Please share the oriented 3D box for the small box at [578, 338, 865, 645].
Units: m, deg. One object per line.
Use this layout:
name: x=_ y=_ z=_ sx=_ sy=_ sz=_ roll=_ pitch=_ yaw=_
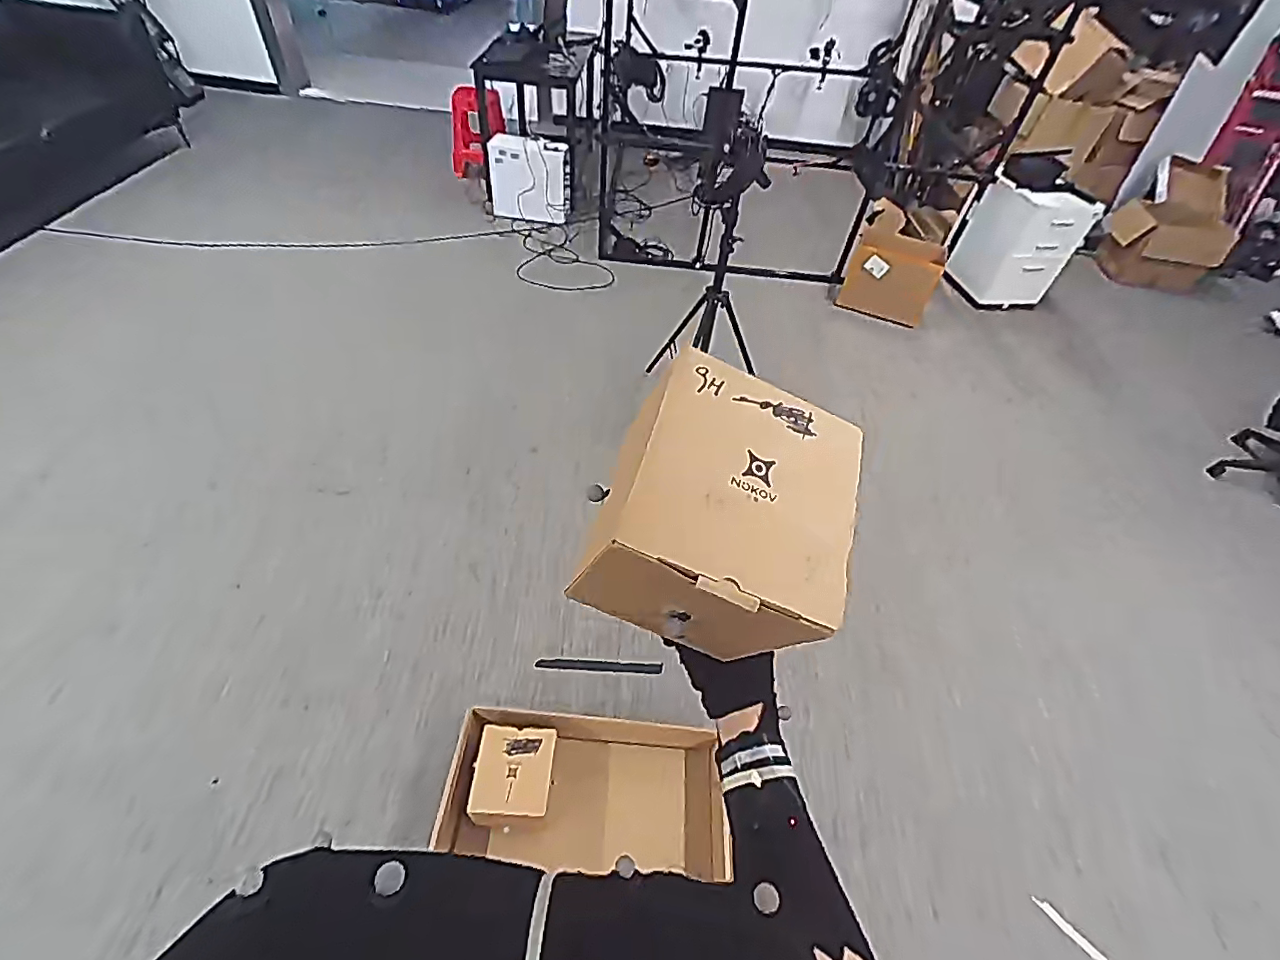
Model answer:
small box: x=0.058 y=0.024 z=0.455 sx=0.168 sy=0.176 sz=0.179 roll=24 pitch=61 yaw=-8
